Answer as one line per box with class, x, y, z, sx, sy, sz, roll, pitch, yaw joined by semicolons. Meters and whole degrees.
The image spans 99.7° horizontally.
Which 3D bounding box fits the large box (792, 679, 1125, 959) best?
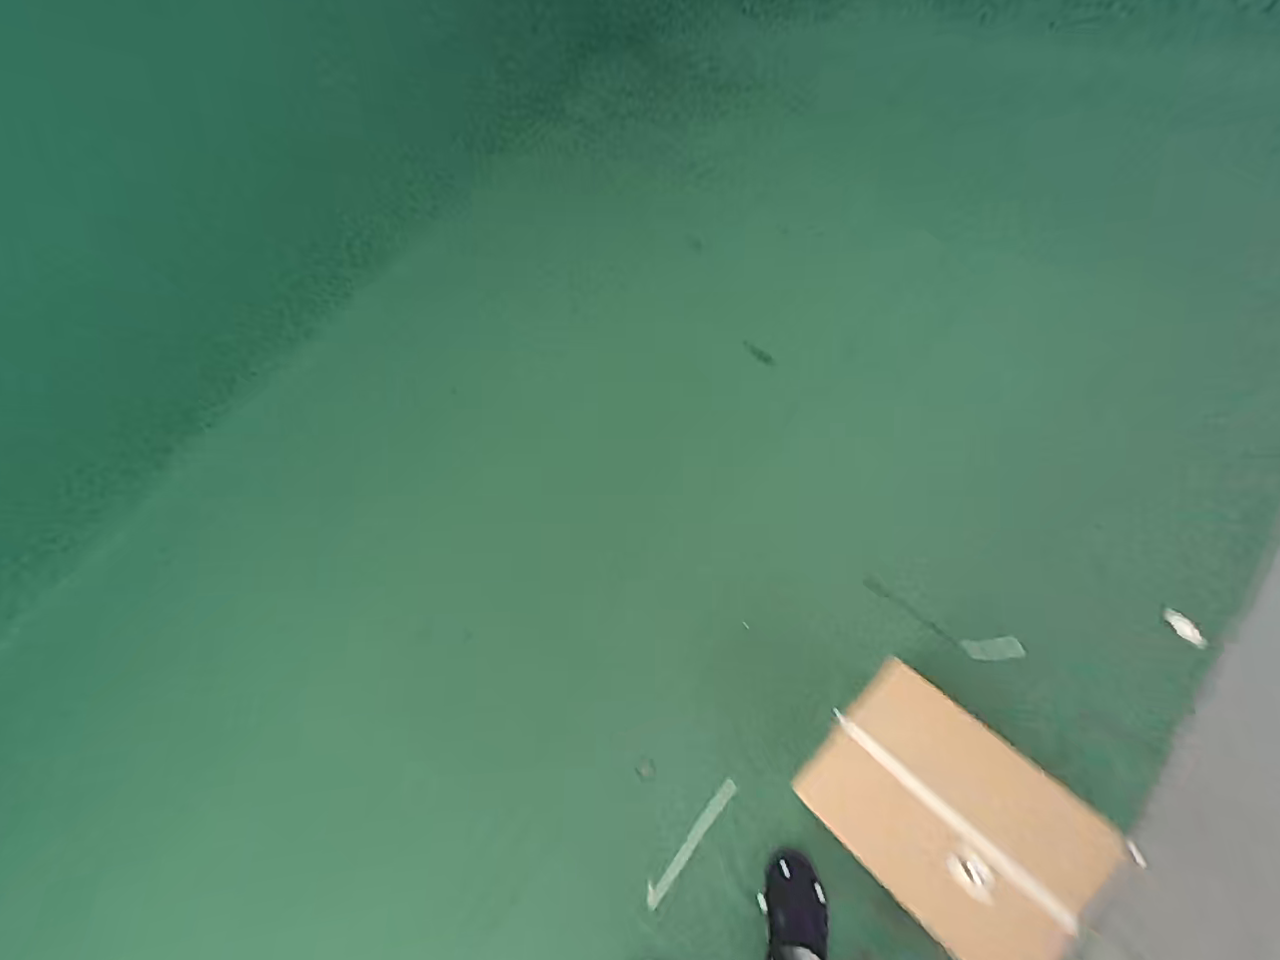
large box;0.544;0.654;1.027;0.320;0.320;0.408;-45;60;-10
